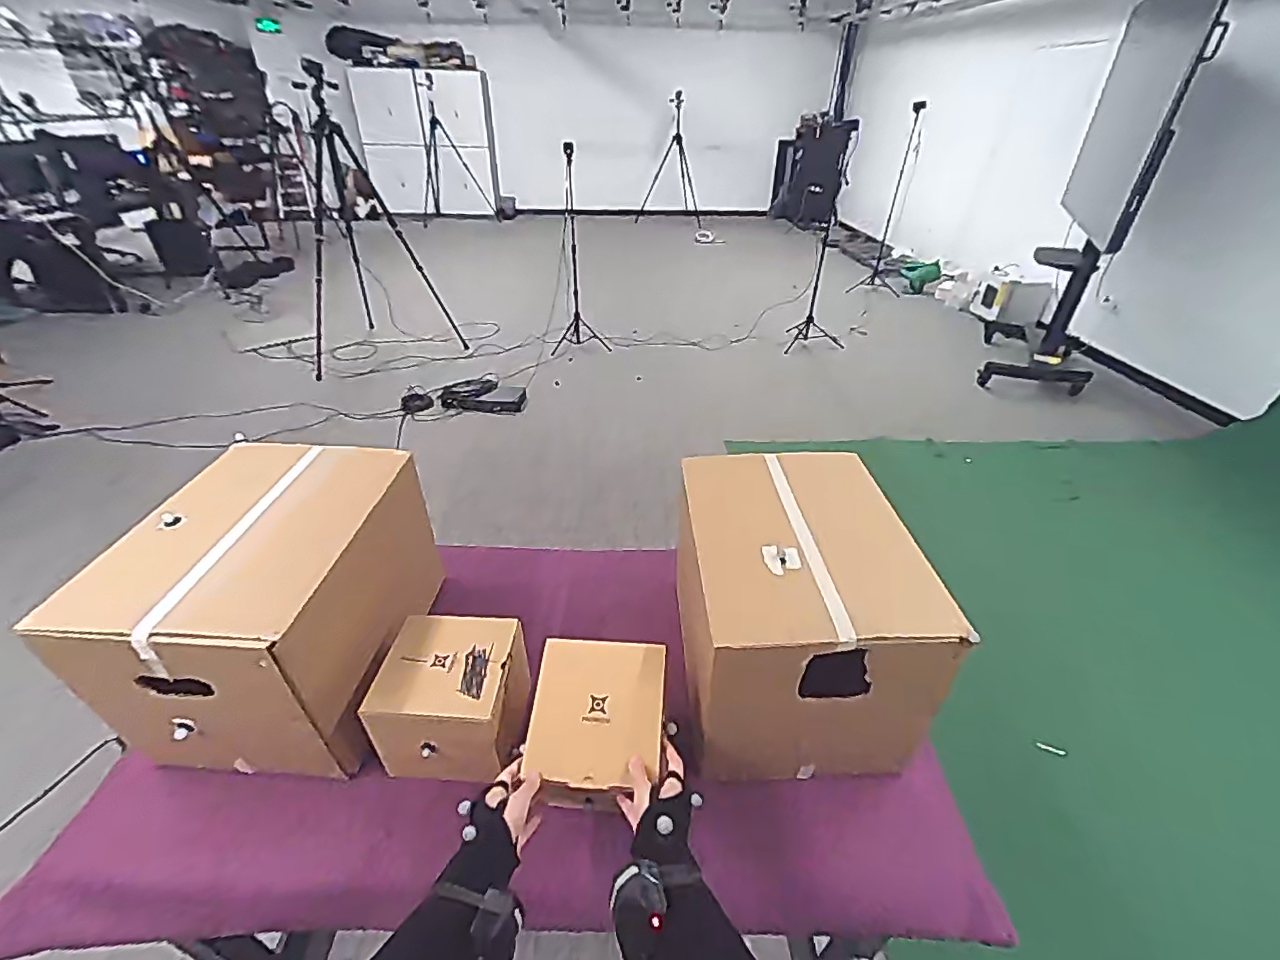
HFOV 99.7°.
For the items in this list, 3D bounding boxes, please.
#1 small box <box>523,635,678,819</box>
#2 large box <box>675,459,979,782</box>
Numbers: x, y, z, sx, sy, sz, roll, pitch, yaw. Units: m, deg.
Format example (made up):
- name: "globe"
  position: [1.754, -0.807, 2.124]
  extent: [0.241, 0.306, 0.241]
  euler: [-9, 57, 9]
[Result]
- name: "small box"
  position: [-0.042, 0.338, 0.737]
  extent: [0.168, 0.176, 0.179]
  euler: [6, 51, 8]
- name: "large box"
  position: [0.233, 0.203, 0.867]
  extent: [0.320, 0.320, 0.408]
  euler: [-2, 35, -1]
